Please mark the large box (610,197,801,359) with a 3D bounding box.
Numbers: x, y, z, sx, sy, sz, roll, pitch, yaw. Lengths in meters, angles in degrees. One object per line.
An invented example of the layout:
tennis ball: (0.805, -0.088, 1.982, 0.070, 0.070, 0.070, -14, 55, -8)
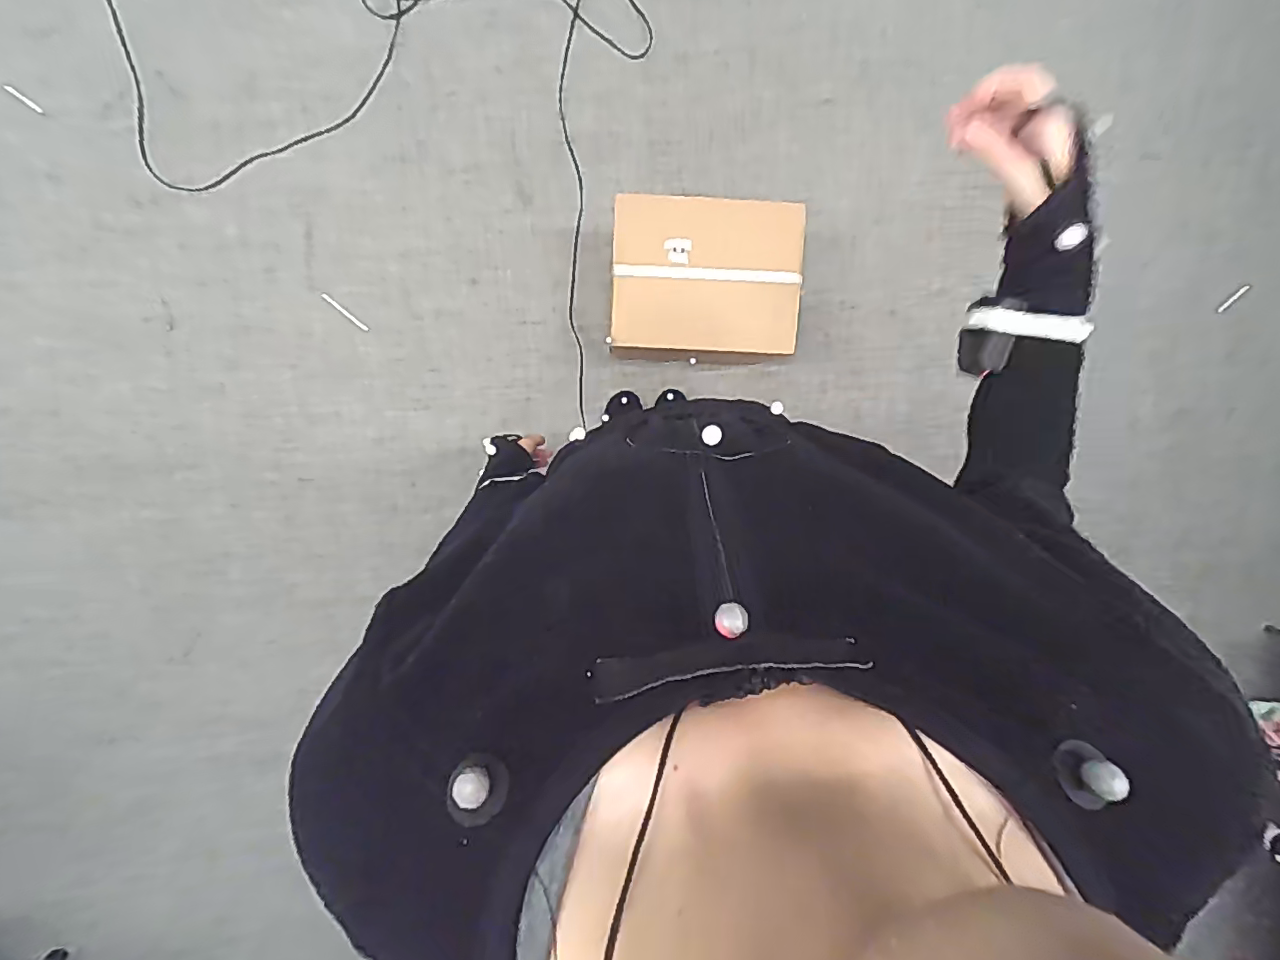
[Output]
large box: (0.137, -0.460, 1.304, 0.408, 0.320, 0.320, 2, 98, -2)
